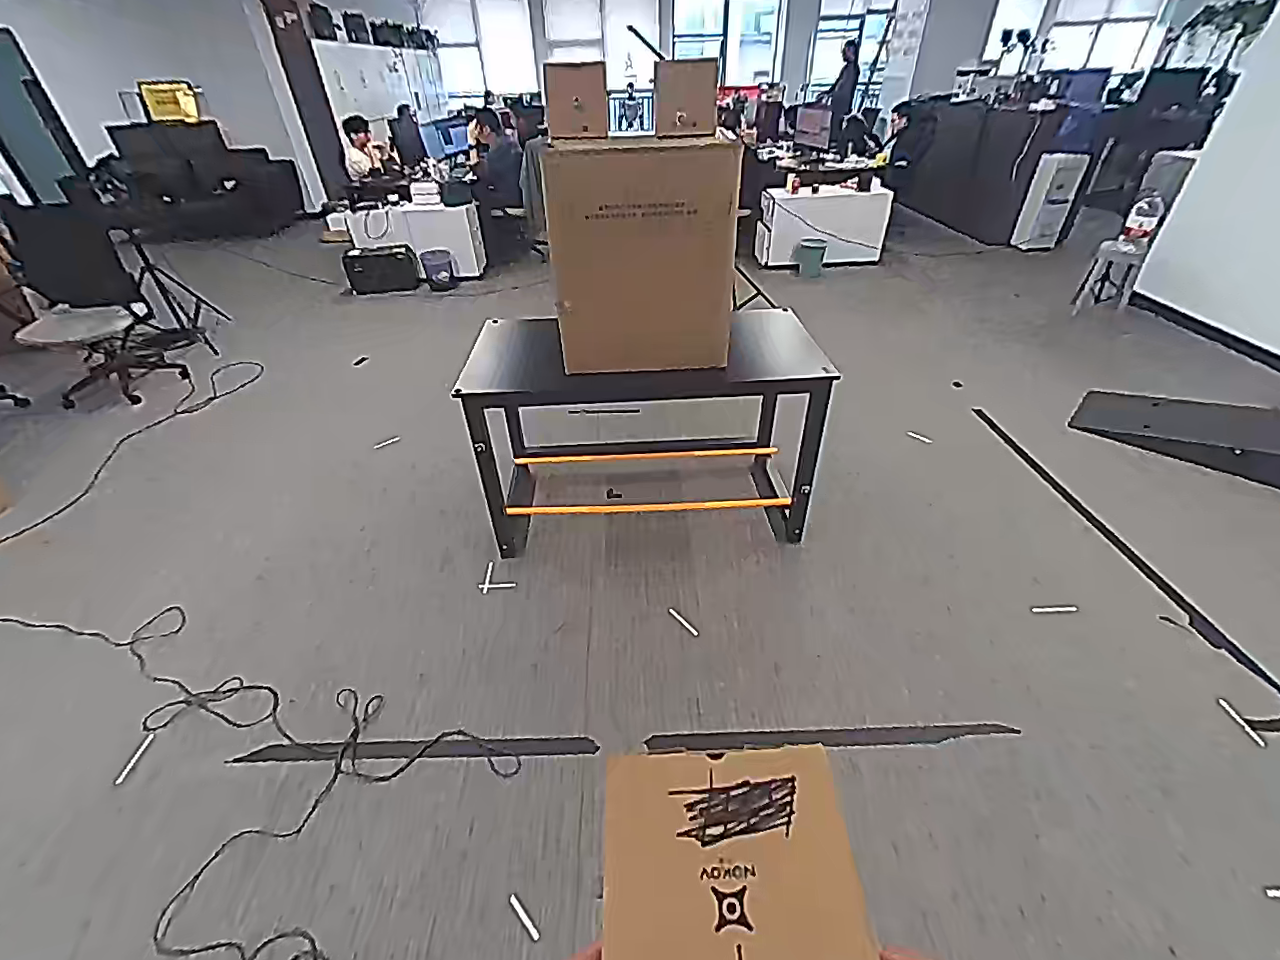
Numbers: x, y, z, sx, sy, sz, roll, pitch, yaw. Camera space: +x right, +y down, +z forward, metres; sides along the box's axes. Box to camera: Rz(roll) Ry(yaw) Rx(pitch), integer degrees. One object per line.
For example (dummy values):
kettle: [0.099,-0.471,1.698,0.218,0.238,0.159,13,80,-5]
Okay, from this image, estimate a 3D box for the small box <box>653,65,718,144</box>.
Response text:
small box: [0.120,-1.035,1.493,0.168,0.176,0.179,-3,37,2]

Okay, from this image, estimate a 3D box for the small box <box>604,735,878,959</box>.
small box: [0.063,0.317,0.407,0.168,0.176,0.179,-4,42,1]

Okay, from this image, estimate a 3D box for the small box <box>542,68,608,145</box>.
small box: [-0.175,-1.048,1.520,0.168,0.176,0.179,-2,37,-2]
